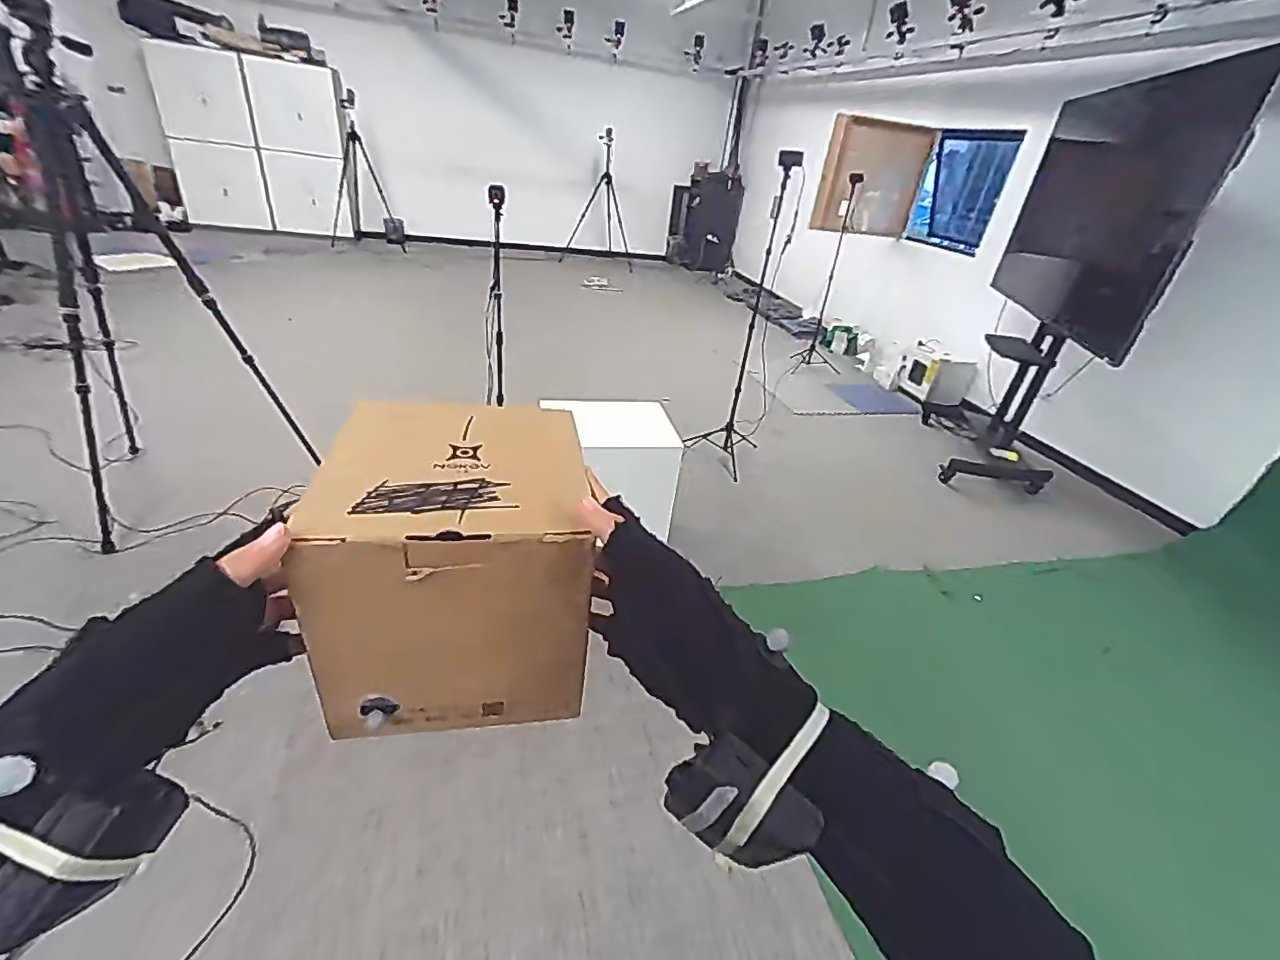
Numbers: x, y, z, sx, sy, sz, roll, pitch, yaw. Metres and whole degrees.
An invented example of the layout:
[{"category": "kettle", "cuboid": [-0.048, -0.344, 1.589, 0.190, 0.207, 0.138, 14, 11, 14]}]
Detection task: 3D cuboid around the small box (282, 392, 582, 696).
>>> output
[{"category": "small box", "cuboid": [-0.136, 0.045, 0.414, 0.168, 0.176, 0.179, 1, 30, -13]}]
